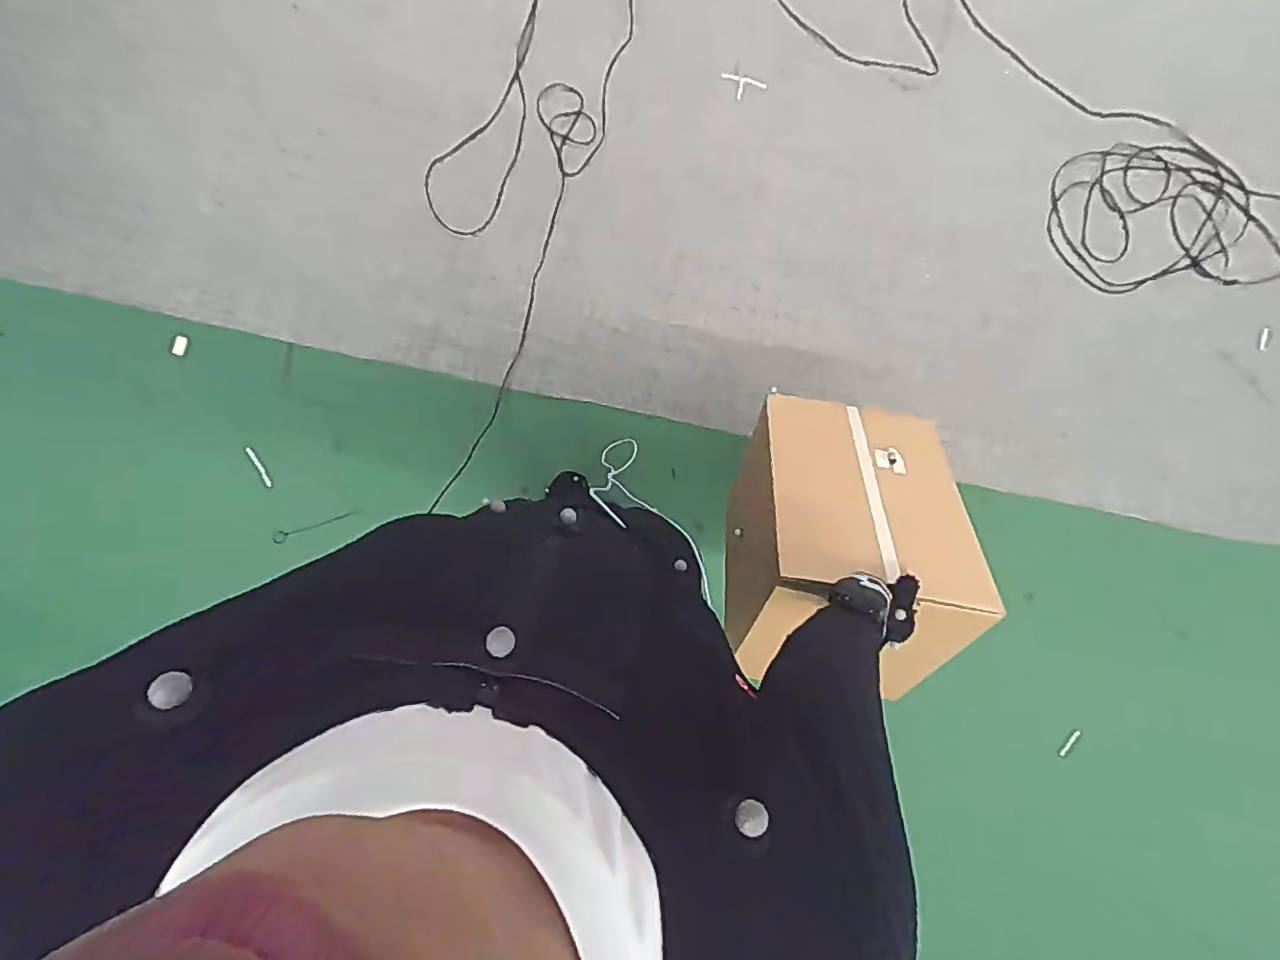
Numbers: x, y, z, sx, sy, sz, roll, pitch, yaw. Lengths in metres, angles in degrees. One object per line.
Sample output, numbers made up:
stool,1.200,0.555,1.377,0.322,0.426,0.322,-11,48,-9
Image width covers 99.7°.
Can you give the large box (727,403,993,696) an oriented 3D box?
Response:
large box,0.341,0.123,0.984,0.320,0.320,0.408,11,46,-1
